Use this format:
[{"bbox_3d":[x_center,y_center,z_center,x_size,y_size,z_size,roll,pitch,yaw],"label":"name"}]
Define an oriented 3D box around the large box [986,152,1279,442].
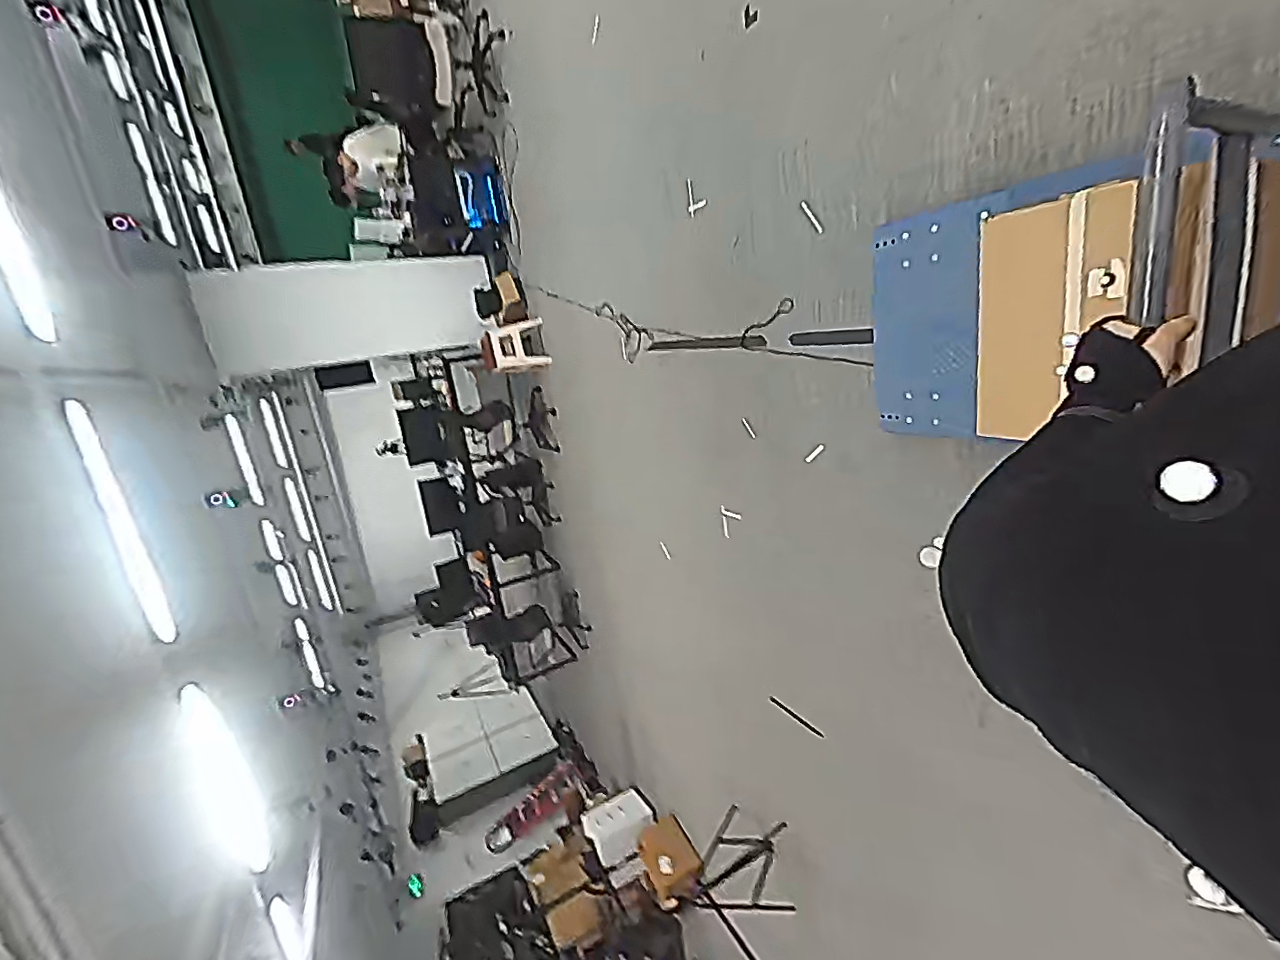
[{"bbox_3d":[0.860,-0.301,0.951,0.320,0.320,0.408,19,120,60],"label":"large box"}]
